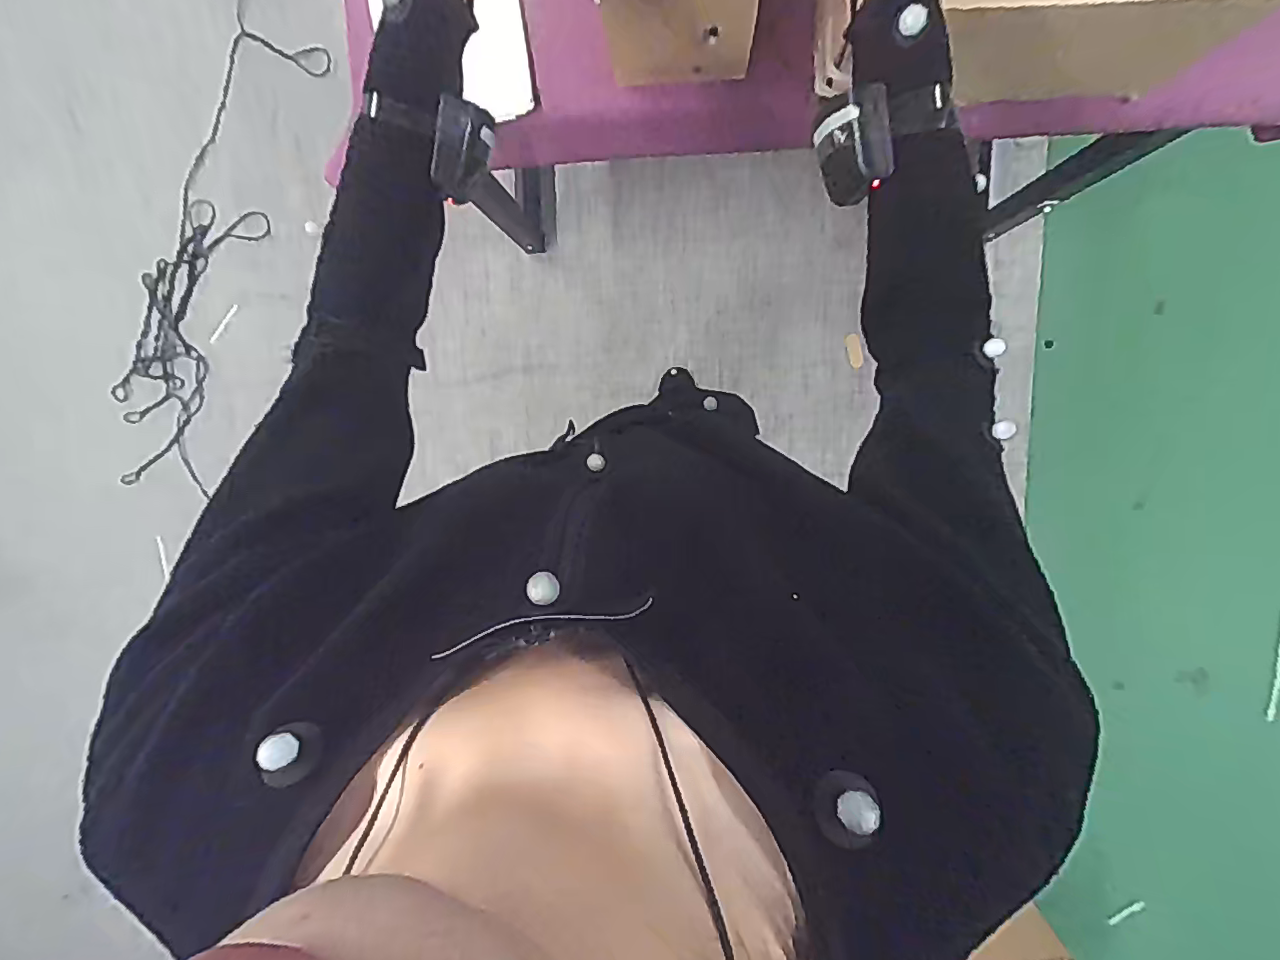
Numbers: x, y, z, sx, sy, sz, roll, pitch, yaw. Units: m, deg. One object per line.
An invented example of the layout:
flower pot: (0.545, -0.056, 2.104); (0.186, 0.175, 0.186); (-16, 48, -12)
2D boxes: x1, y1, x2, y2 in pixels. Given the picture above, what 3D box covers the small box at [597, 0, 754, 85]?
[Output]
small box: (0.045, -0.580, 0.609); (0.168, 0.176, 0.179); (1, 96, 4)
